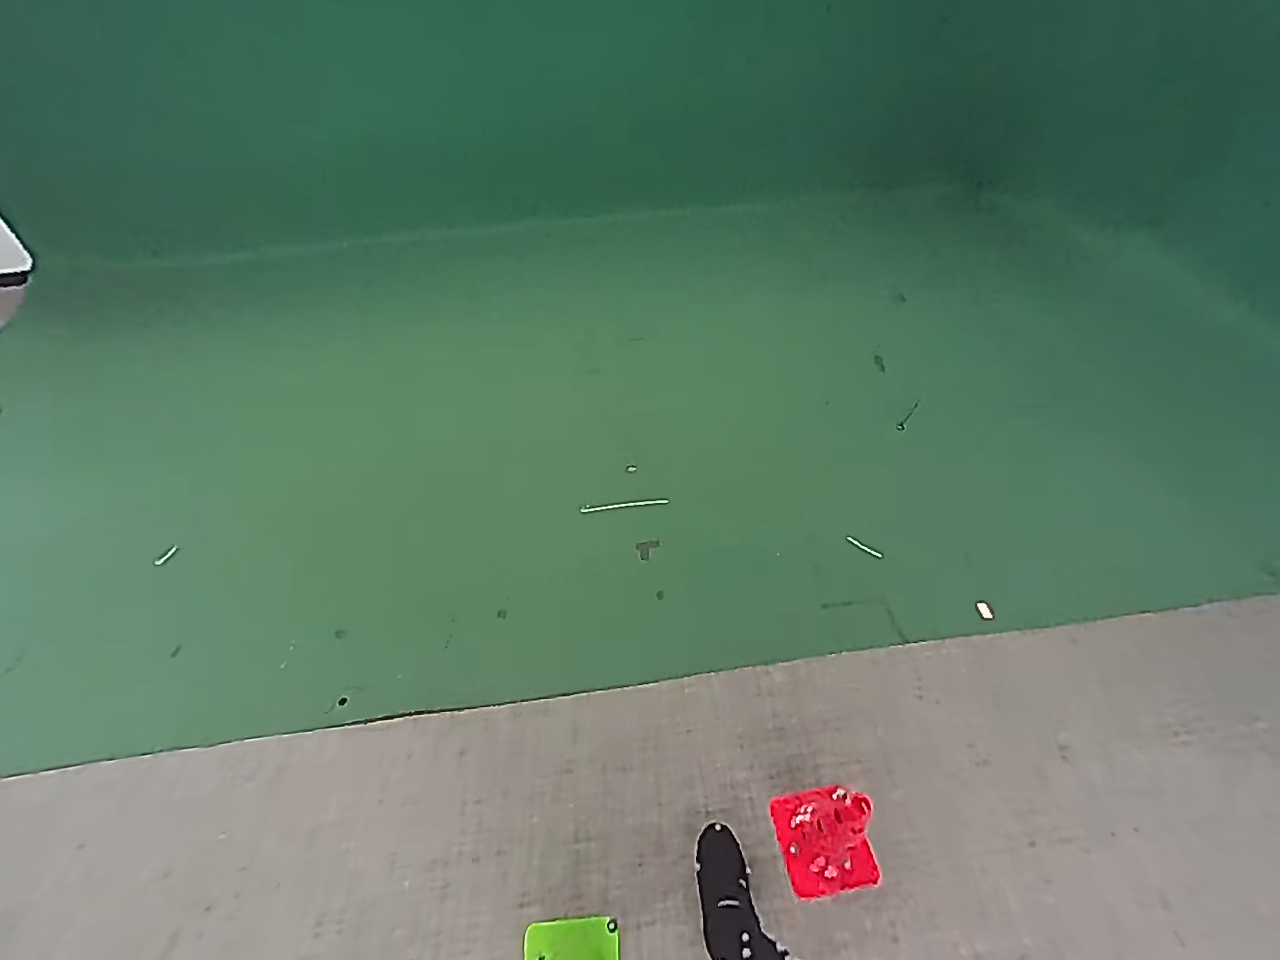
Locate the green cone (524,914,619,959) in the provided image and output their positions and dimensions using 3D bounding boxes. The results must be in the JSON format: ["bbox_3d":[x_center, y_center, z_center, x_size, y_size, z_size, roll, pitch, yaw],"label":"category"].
[{"bbox_3d":[-0.150,0.904,0.971,0.200,0.368,0.202,-6,49,-1],"label":"green cone"}]
